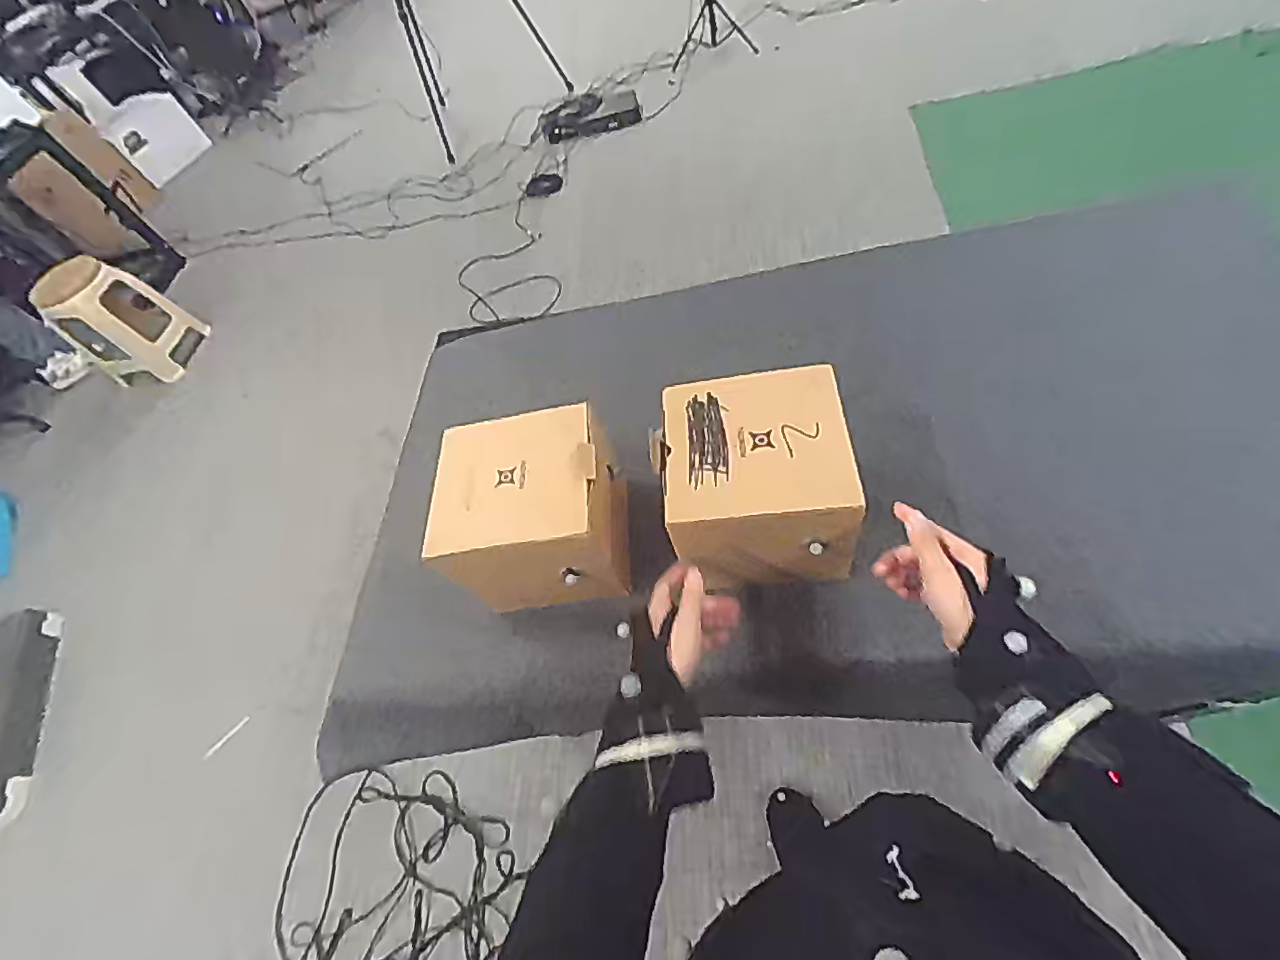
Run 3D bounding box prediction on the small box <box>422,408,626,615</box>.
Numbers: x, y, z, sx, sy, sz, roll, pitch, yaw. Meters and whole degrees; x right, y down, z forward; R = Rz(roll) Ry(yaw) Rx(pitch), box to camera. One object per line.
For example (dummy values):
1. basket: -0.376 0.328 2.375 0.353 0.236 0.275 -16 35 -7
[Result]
1. small box: -0.115 0.044 0.625 0.179 0.176 0.168 -10 55 10
